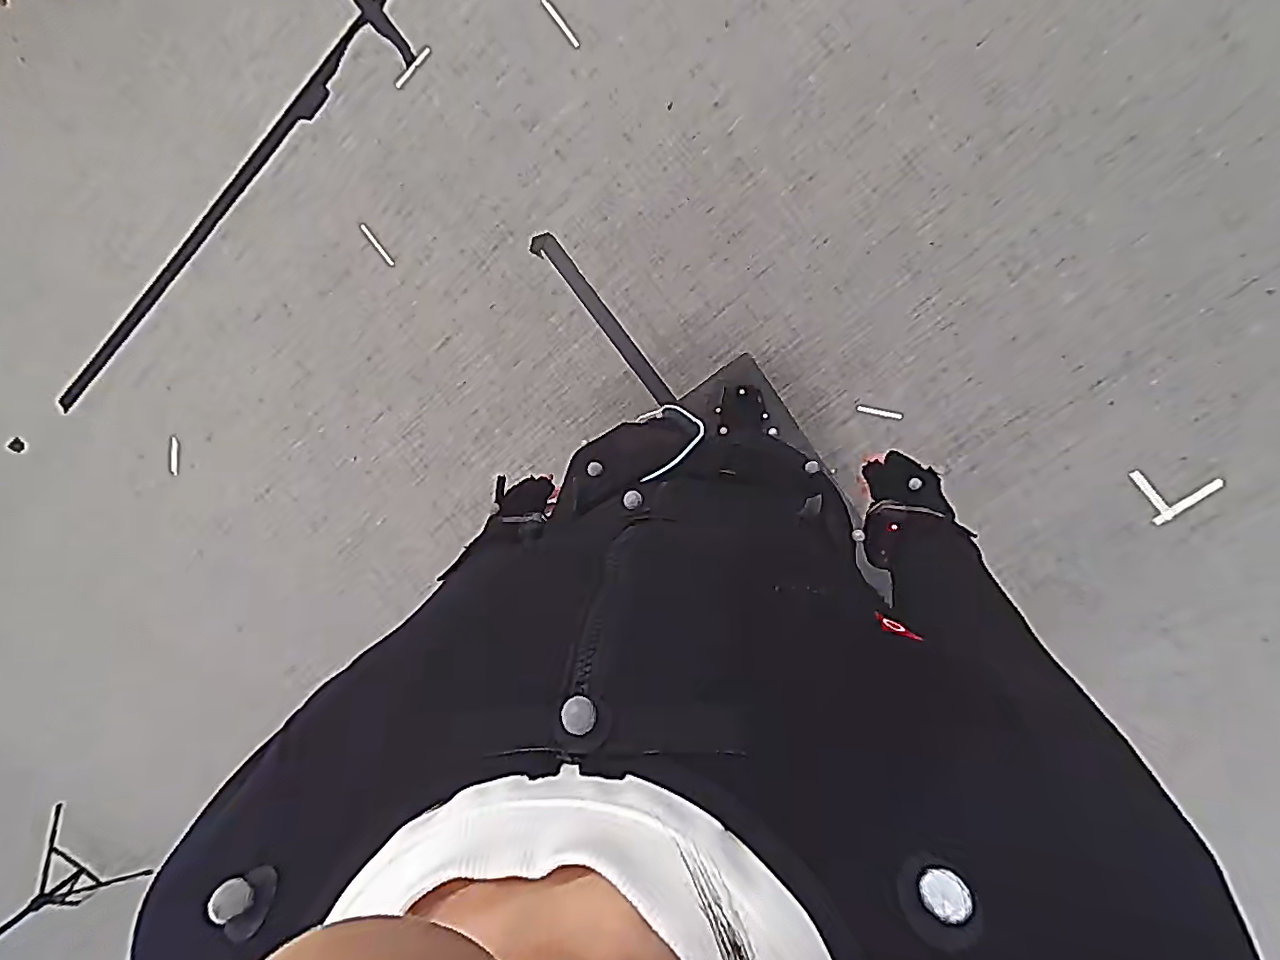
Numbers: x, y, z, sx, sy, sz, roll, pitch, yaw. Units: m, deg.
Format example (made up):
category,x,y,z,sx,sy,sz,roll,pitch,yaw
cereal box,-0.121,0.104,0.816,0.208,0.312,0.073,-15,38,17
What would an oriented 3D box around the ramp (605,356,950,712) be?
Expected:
category,x,y,z,sx,sy,sz,roll,pitch,yaw
ramp,0.399,0.197,1.505,0.509,0.206,0.991,-38,91,13
